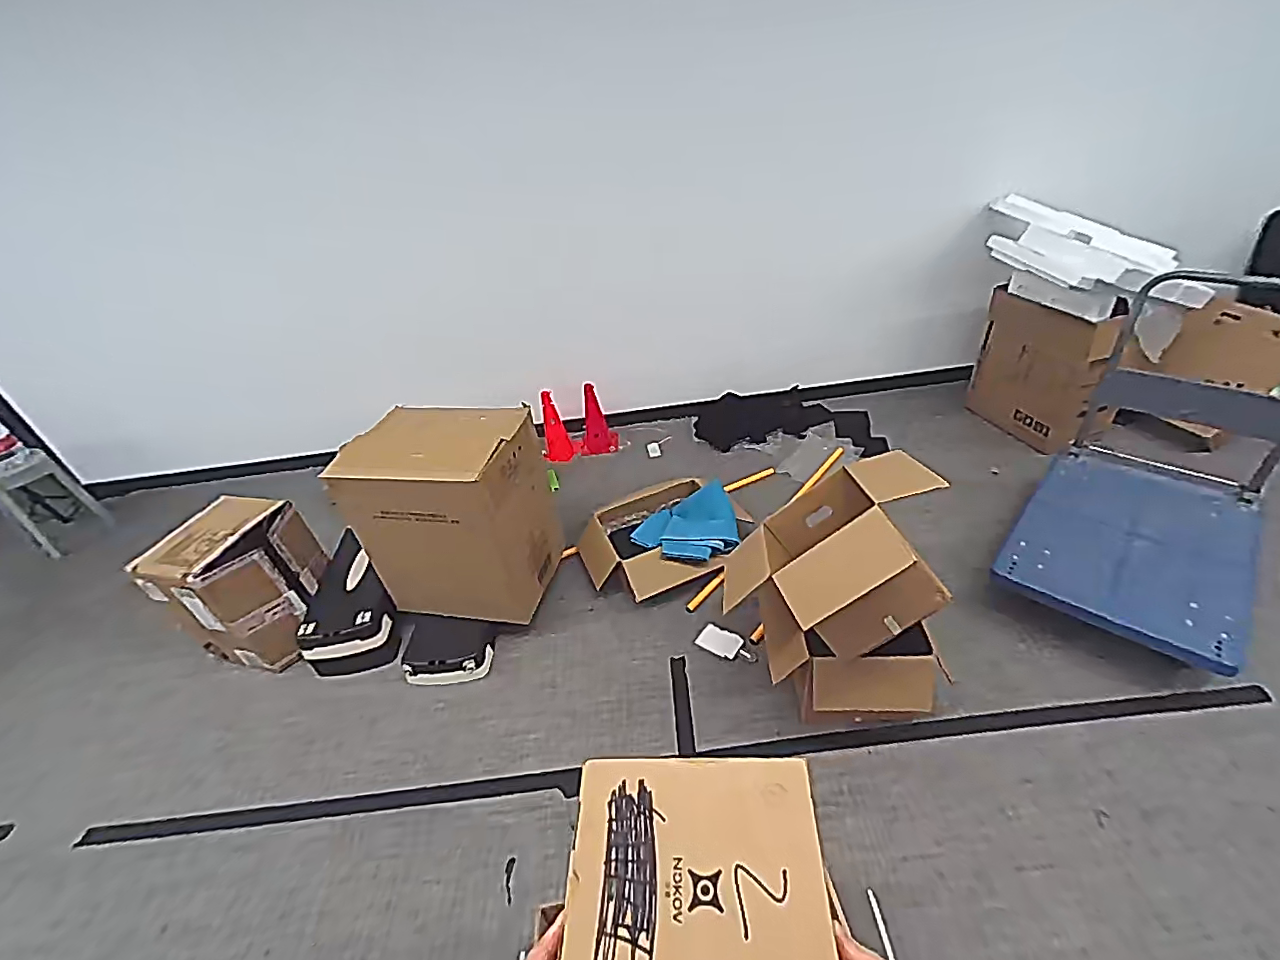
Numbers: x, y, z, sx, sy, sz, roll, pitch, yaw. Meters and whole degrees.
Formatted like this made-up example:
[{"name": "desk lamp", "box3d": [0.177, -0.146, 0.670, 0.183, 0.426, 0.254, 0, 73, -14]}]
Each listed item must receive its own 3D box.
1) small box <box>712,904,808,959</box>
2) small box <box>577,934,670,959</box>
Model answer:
[{"name": "small box", "box3d": [0.238, 0.961, 1.037, 0.168, 0.176, 0.179, -11, 36, -2]}, {"name": "small box", "box3d": [-0.017, 1.005, 1.025, 0.179, 0.176, 0.168, -10, 35, -4]}]
